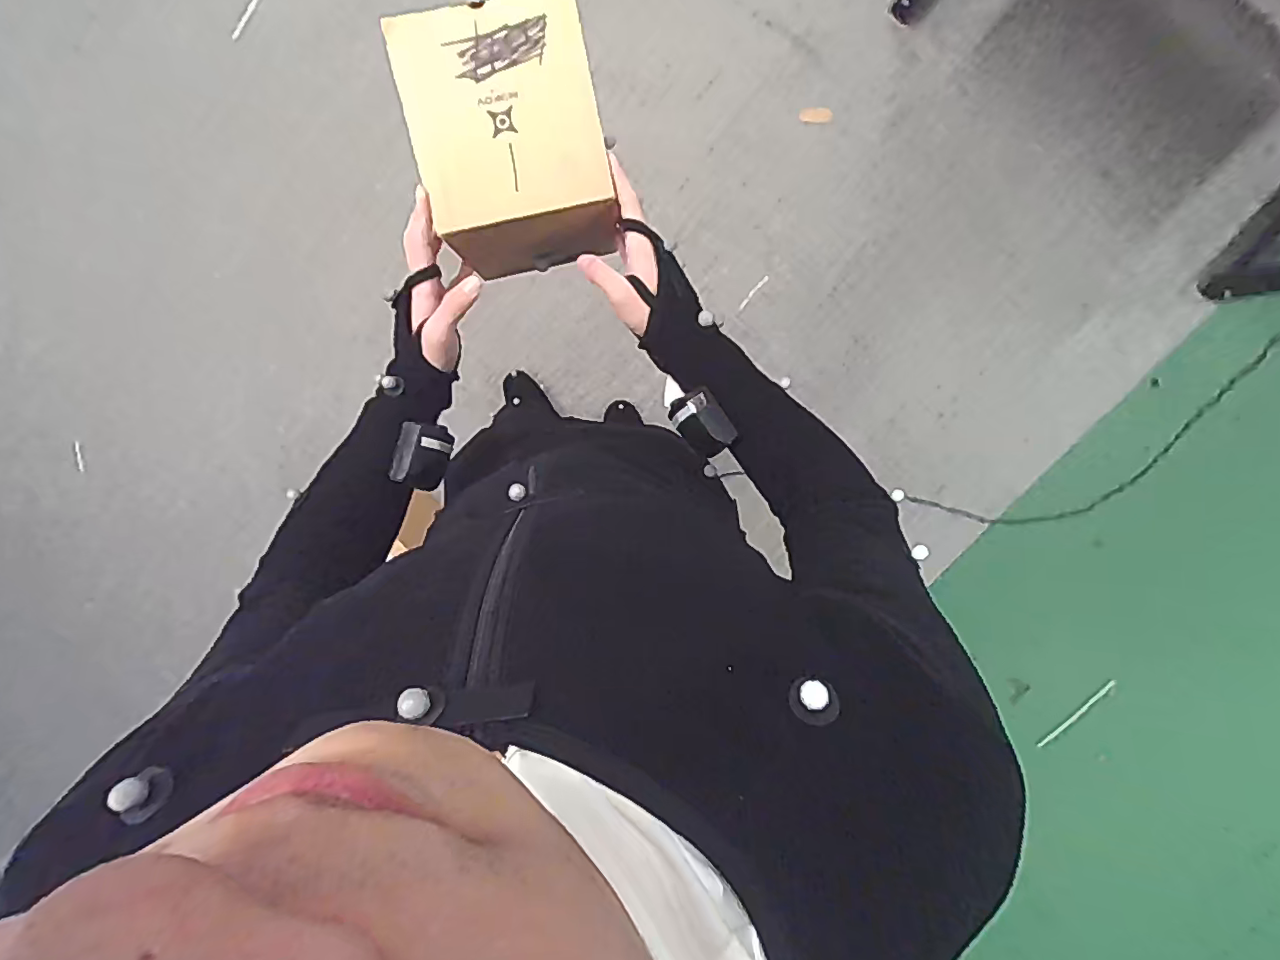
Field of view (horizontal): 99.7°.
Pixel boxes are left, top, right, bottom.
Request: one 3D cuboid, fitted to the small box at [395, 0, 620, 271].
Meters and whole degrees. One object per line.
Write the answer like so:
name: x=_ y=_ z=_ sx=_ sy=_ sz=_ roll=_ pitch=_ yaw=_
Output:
small box: x=-0.117 y=-0.334 z=0.547 sx=0.168 sy=0.176 sz=0.179 roll=-11 pitch=98 yaw=0
